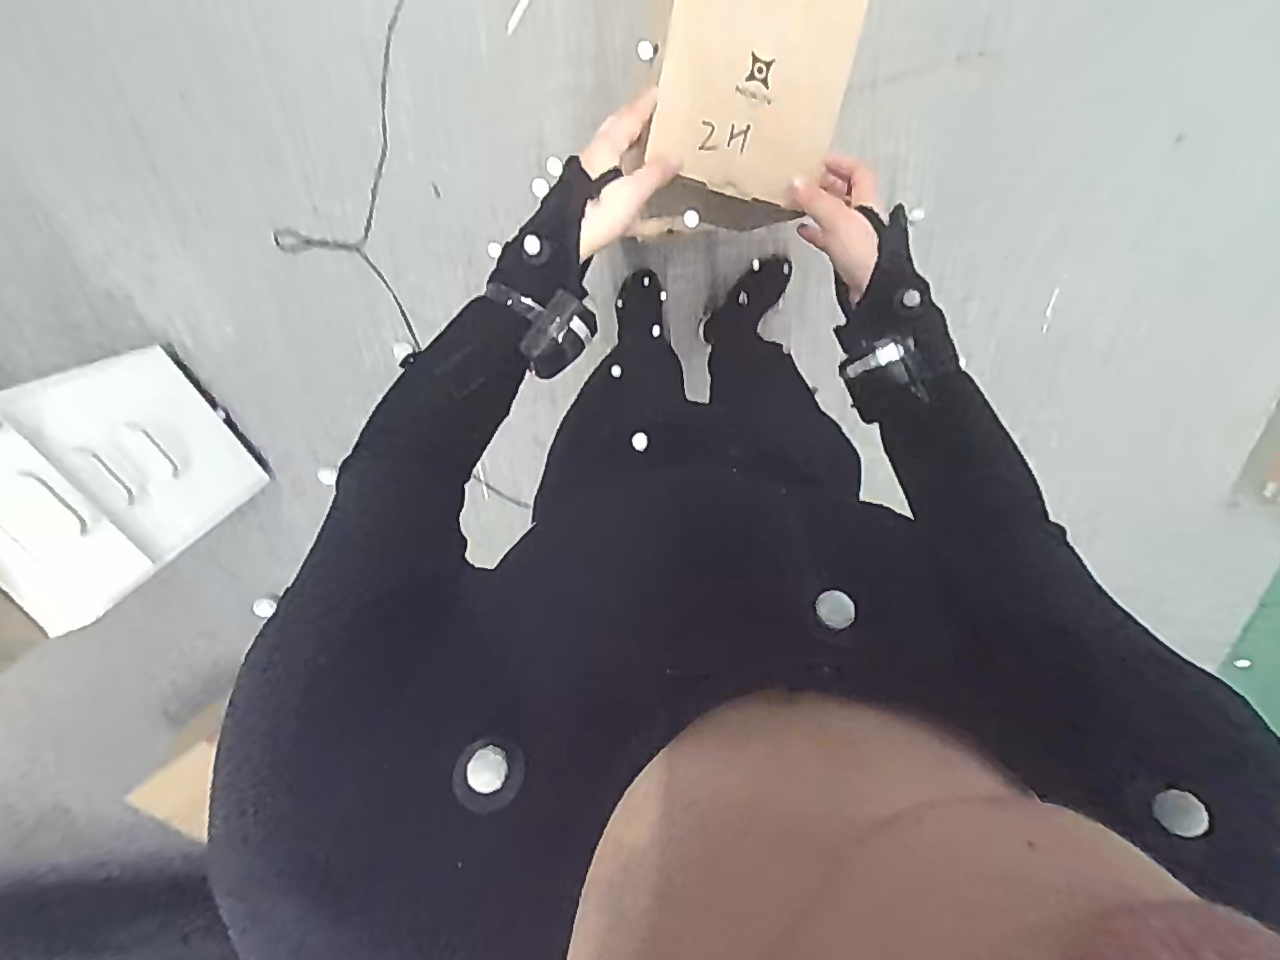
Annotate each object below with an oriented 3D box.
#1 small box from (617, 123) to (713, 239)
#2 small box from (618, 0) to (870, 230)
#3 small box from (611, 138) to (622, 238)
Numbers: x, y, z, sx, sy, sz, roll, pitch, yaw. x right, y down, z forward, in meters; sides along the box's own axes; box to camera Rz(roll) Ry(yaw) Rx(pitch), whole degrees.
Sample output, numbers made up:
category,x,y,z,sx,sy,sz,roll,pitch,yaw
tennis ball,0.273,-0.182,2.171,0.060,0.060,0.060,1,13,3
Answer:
category,x,y,z,sx,sy,sz,roll,pitch,yaw
small box,0.045,-0.545,0.997,0.168,0.176,0.179,-3,115,-1
small box,0.082,-0.361,0.528,0.168,0.176,0.179,9,108,-15
small box,0.027,-0.616,1.145,0.168,0.176,0.179,-4,116,-1
